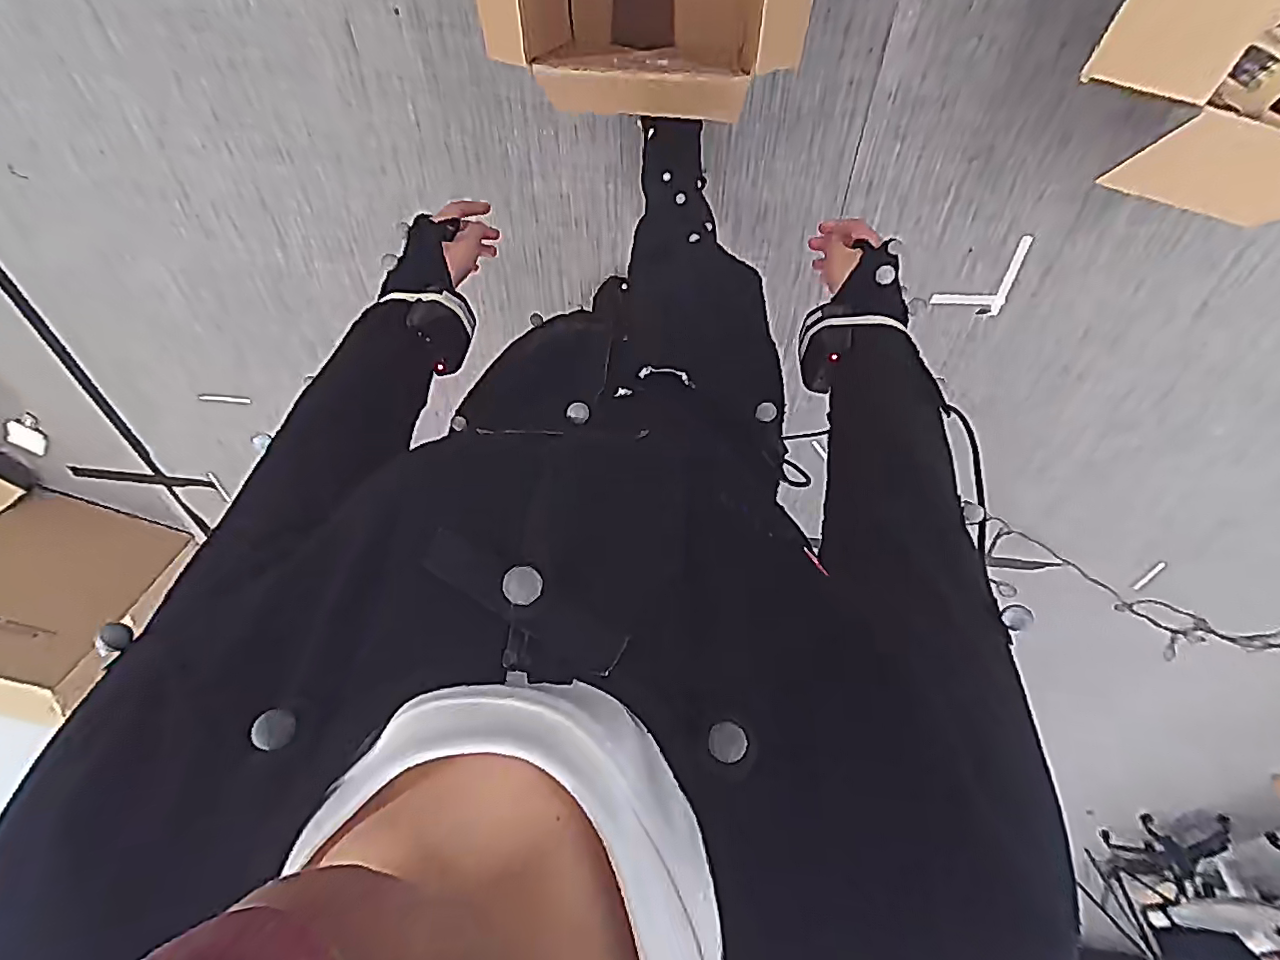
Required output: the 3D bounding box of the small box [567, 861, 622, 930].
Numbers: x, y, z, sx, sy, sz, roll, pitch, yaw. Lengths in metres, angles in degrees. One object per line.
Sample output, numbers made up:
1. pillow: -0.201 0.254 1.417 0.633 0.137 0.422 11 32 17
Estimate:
1. small box: -0.165 1.534 2.003 0.179 0.176 0.168 5 133 3
